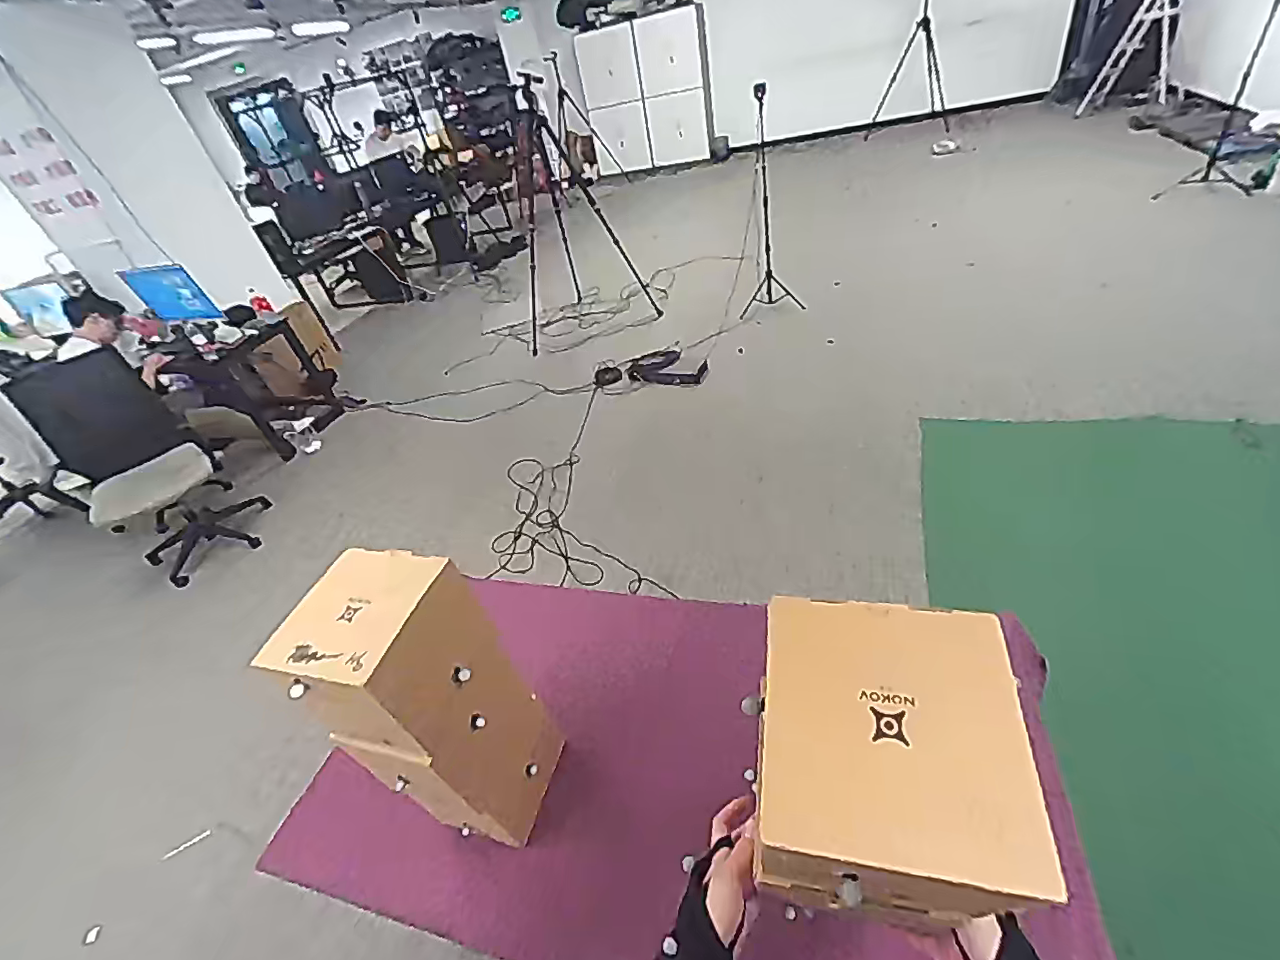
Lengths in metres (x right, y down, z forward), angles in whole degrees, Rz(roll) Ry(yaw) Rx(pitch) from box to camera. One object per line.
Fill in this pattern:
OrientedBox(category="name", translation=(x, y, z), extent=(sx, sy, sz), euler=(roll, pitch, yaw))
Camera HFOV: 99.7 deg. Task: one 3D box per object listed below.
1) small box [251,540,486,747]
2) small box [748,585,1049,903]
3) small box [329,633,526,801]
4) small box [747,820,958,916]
OrientedBox(category="small box", translation=(-0.318, 0.201, 0.680), extent=(0.168, 0.176, 0.179), euler=(2, 42, 20))
OrientedBox(category="small box", translation=(0.178, 0.206, 0.426), extent=(0.168, 0.176, 0.179), euler=(2, 49, 15))
OrientedBox(category="small box", translation=(-0.288, 0.329, 0.778), extent=(0.168, 0.176, 0.179), euler=(4, 43, 21))
OrientedBox(category="small box", translation=(0.200, 0.312, 0.546), extent=(0.168, 0.176, 0.179), euler=(1, 49, 15))
